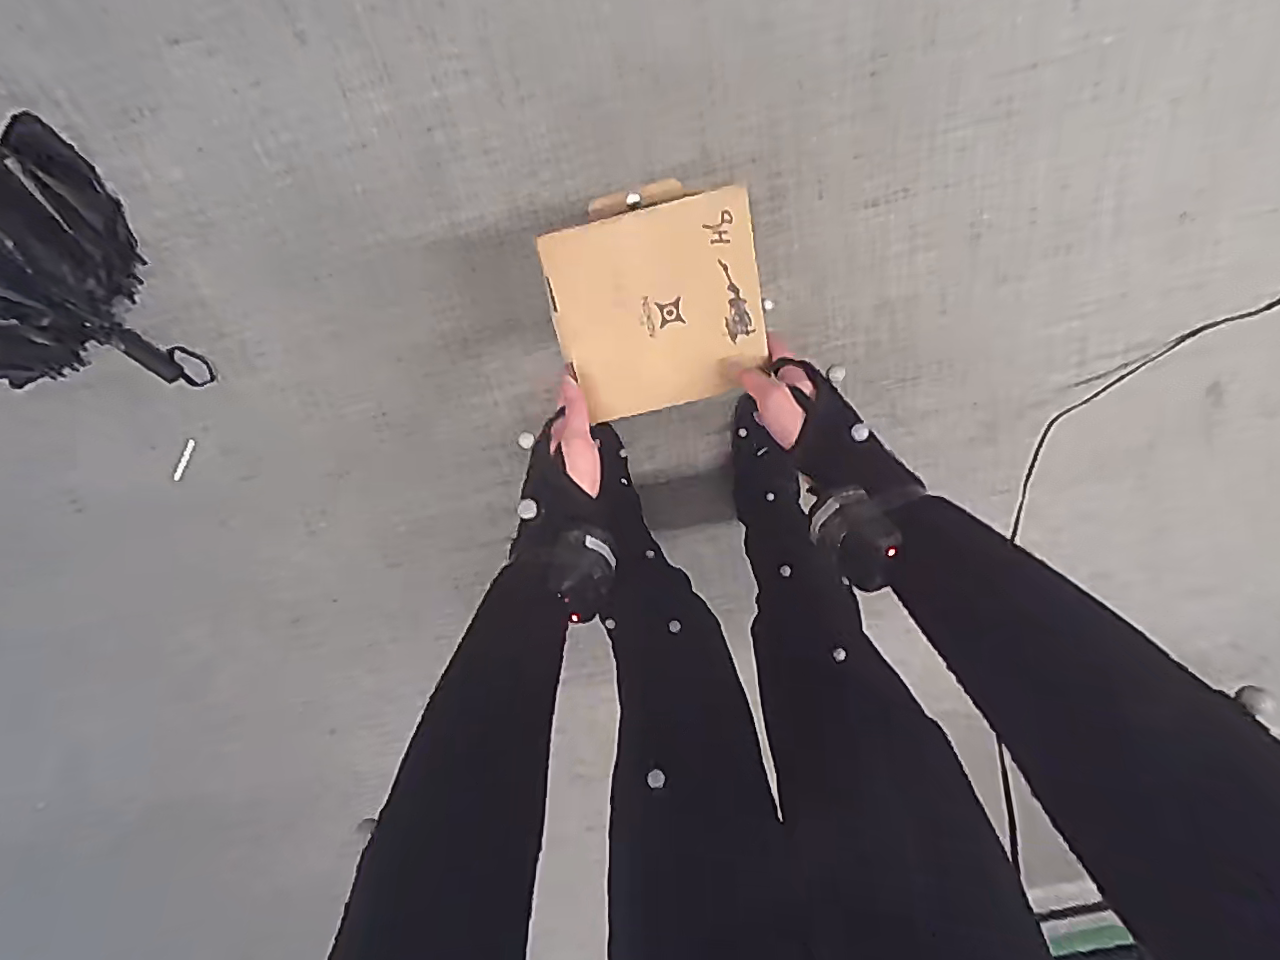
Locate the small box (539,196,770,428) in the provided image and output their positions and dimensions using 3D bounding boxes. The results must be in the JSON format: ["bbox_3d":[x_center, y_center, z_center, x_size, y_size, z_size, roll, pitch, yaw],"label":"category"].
[{"bbox_3d":[0.018,-0.169,0.537,0.179,0.176,0.168,-12,115,5],"label":"small box"}]
